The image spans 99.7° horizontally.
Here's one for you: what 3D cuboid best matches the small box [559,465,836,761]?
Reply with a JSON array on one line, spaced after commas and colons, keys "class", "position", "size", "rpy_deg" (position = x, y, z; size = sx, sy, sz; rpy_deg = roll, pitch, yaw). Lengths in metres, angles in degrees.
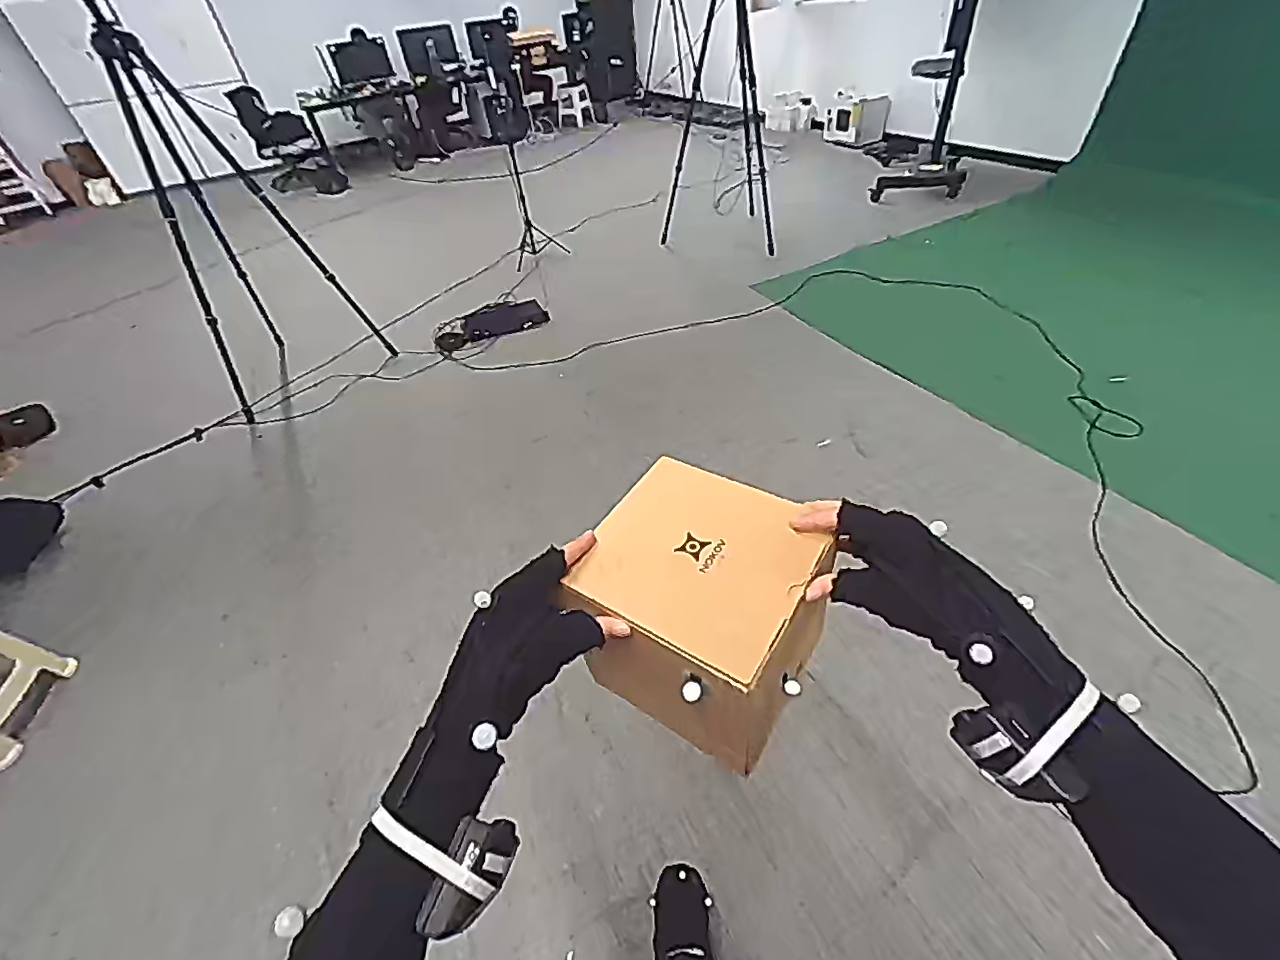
[{"class": "small box", "position": [0.055, 0.119, 0.497], "size": [0.179, 0.176, 0.168], "rpy_deg": [22, 51, 29]}]
